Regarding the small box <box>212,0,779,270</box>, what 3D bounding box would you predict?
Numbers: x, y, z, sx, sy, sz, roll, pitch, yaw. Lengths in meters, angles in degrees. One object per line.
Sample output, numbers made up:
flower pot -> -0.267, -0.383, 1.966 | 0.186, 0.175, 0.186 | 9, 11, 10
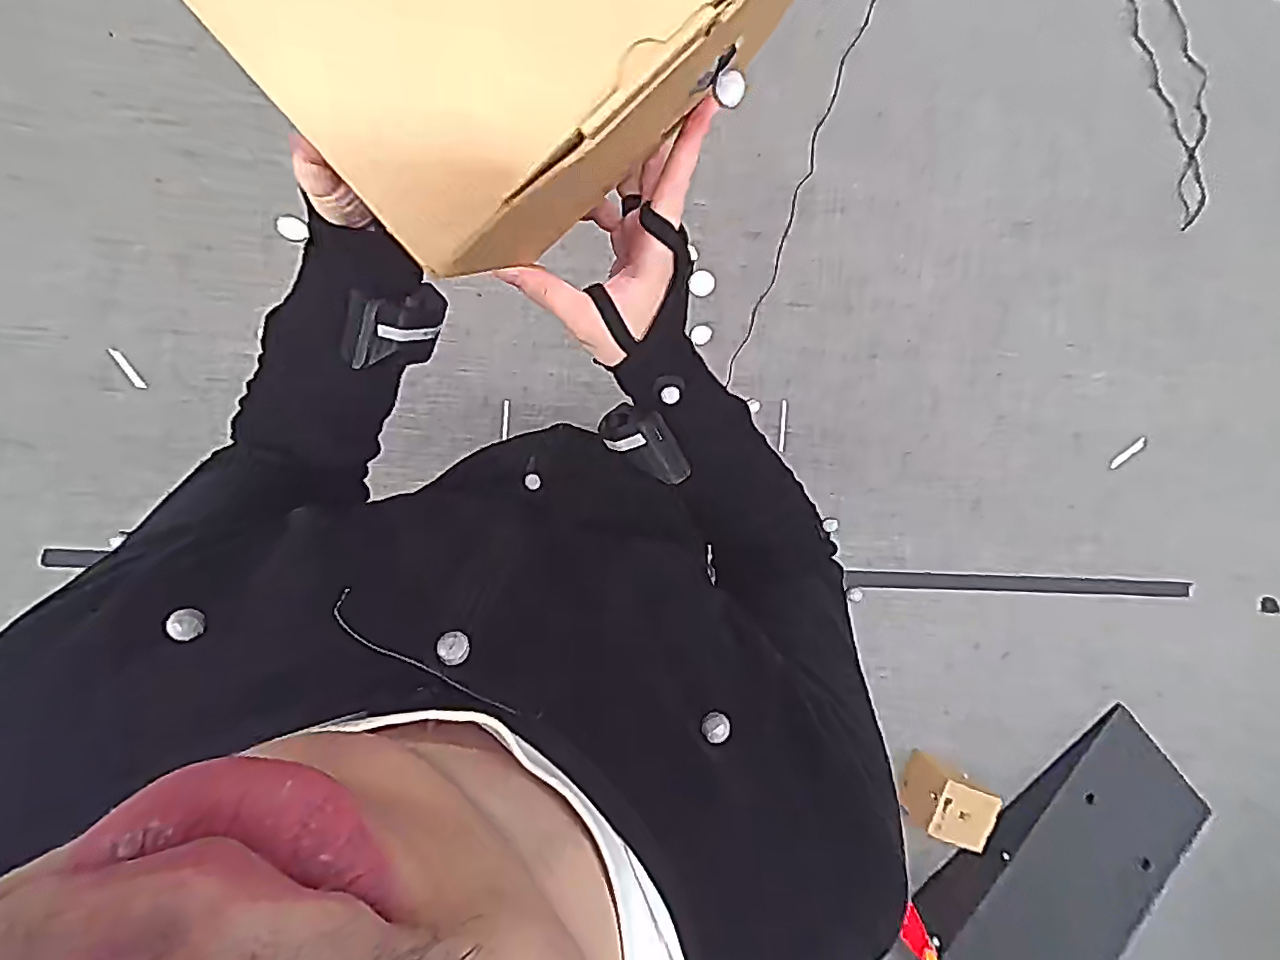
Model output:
small box -> -0.053, -0.206, 0.203 | 0.168, 0.176, 0.179 | -38, 108, 12
